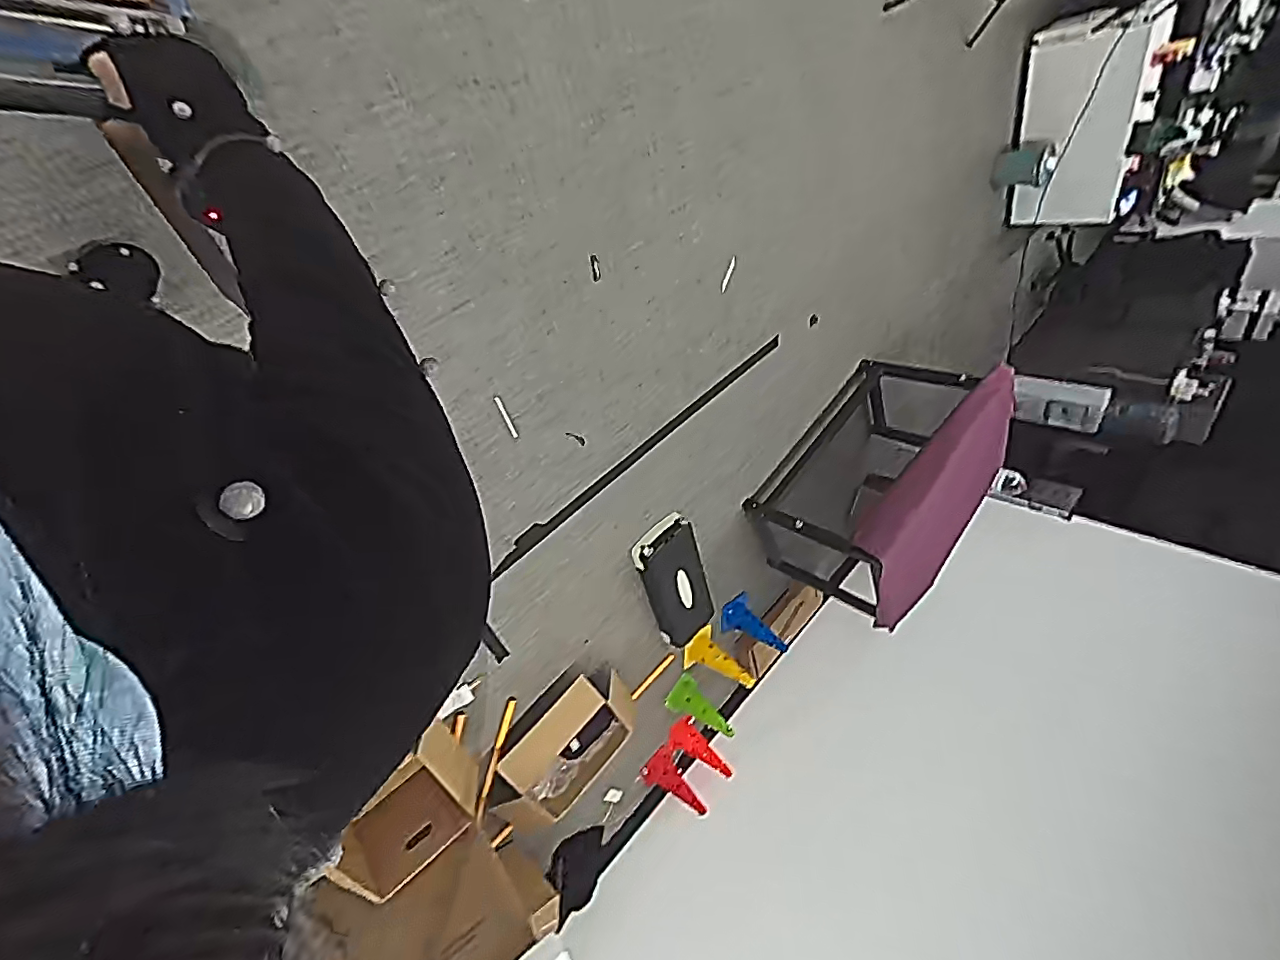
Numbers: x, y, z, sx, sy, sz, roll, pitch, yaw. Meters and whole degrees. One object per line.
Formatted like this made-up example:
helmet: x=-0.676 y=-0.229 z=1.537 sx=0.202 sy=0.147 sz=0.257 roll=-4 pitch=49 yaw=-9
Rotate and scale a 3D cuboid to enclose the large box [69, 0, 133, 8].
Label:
large box: x=-0.847 y=-0.740 z=0.566 sx=0.408 sy=0.320 sz=0.320 roll=-22 pitch=134 yaw=-37
